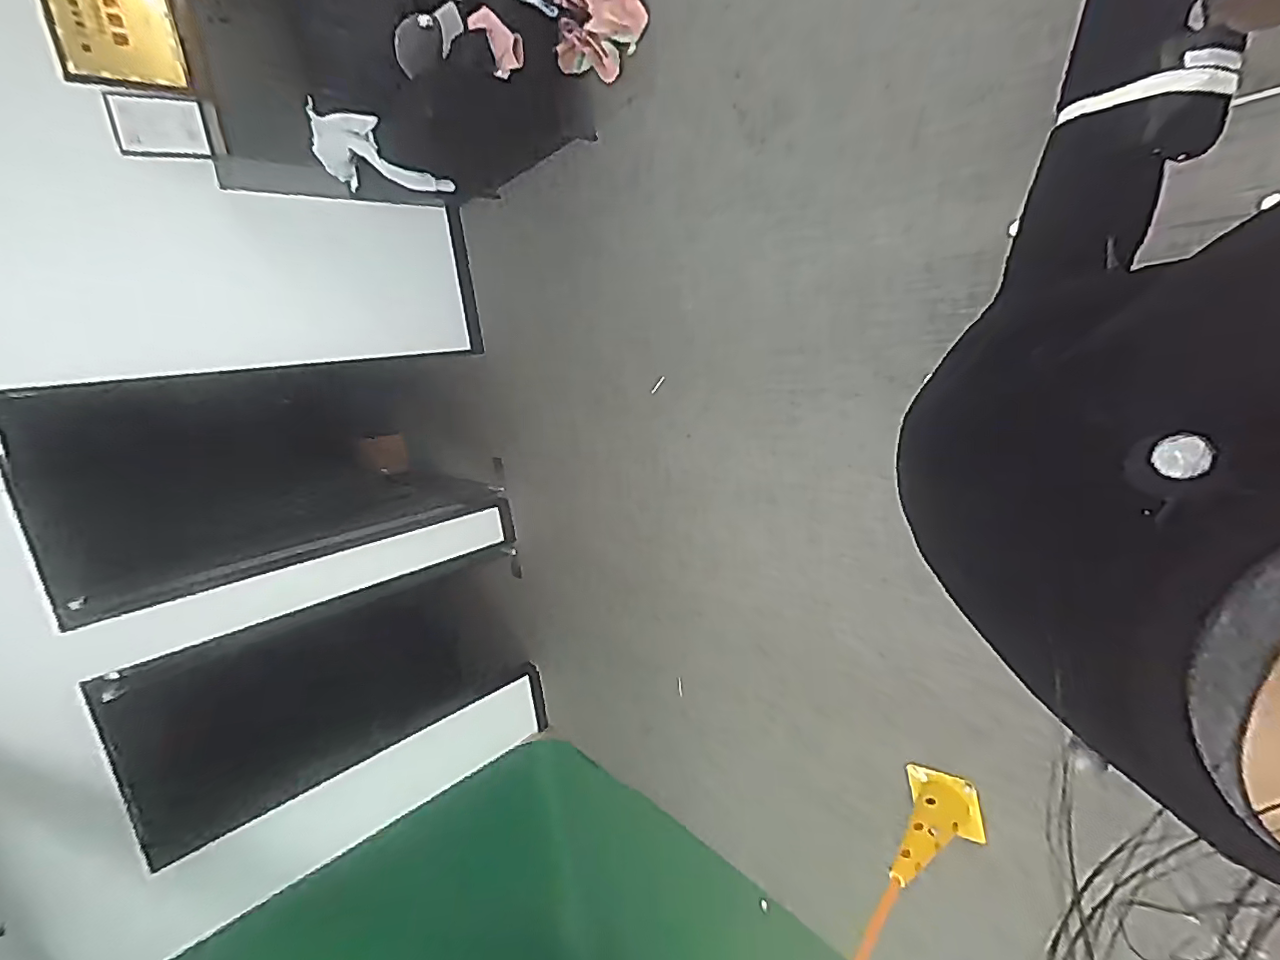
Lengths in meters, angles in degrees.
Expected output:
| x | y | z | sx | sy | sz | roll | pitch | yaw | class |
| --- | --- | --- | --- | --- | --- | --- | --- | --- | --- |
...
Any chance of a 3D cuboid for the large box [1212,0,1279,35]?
| x | y | z | sx | sy | sz | roll | pitch | yaw | class |
| --- | --- | --- | --- | --- | --- | --- | --- | --- | --- |
| 0.594 | -0.462 | 0.244 | 0.408 | 0.320 | 0.320 | 17 | 125 | 41 | large box |
